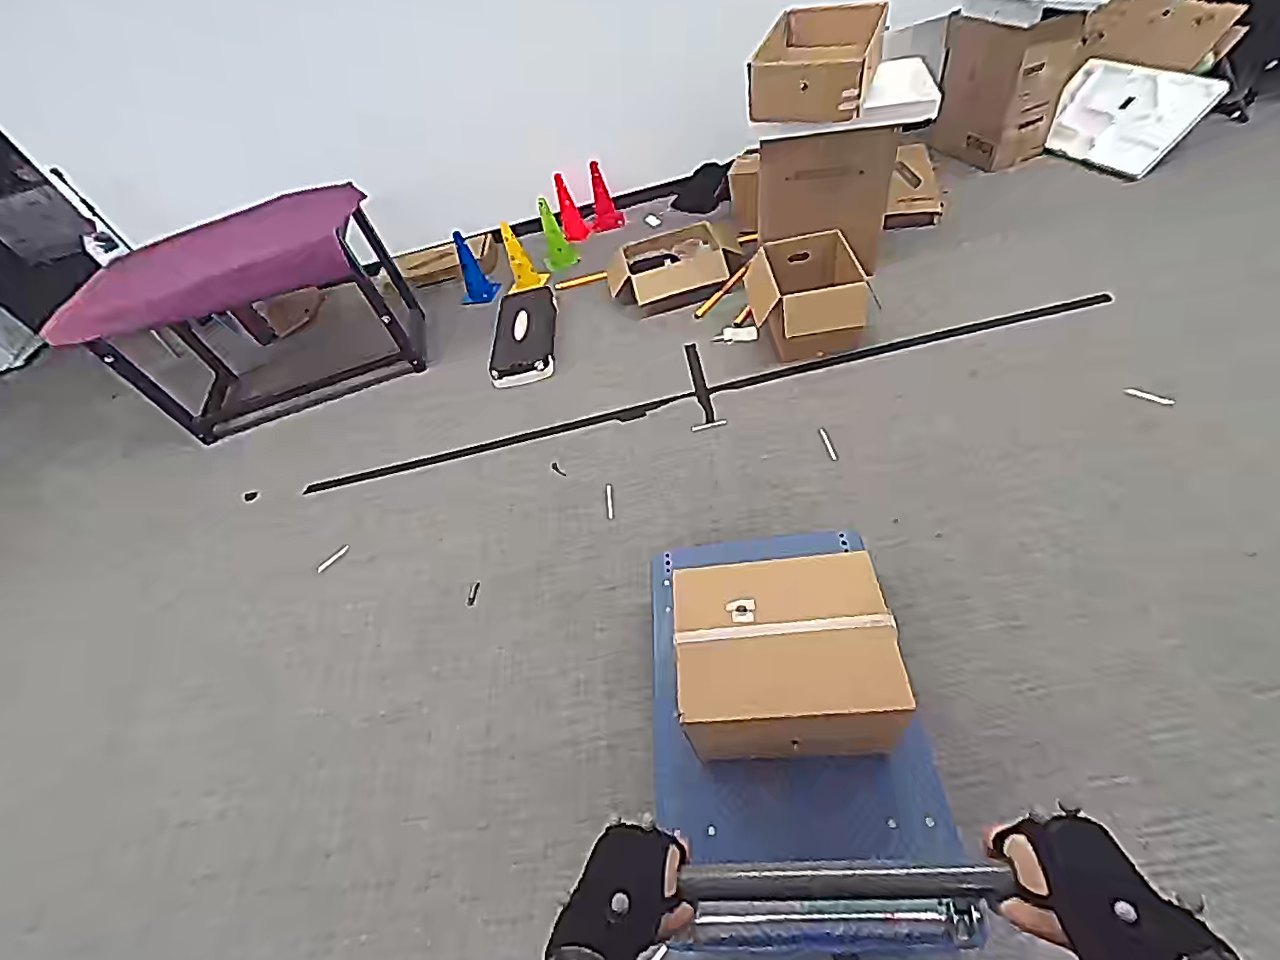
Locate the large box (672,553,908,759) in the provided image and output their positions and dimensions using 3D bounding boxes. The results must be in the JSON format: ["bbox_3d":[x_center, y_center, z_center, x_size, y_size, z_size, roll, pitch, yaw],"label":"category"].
[{"bbox_3d":[0.299,0.389,1.159,0.408,0.320,0.320,-9,49,10],"label":"large box"}]
